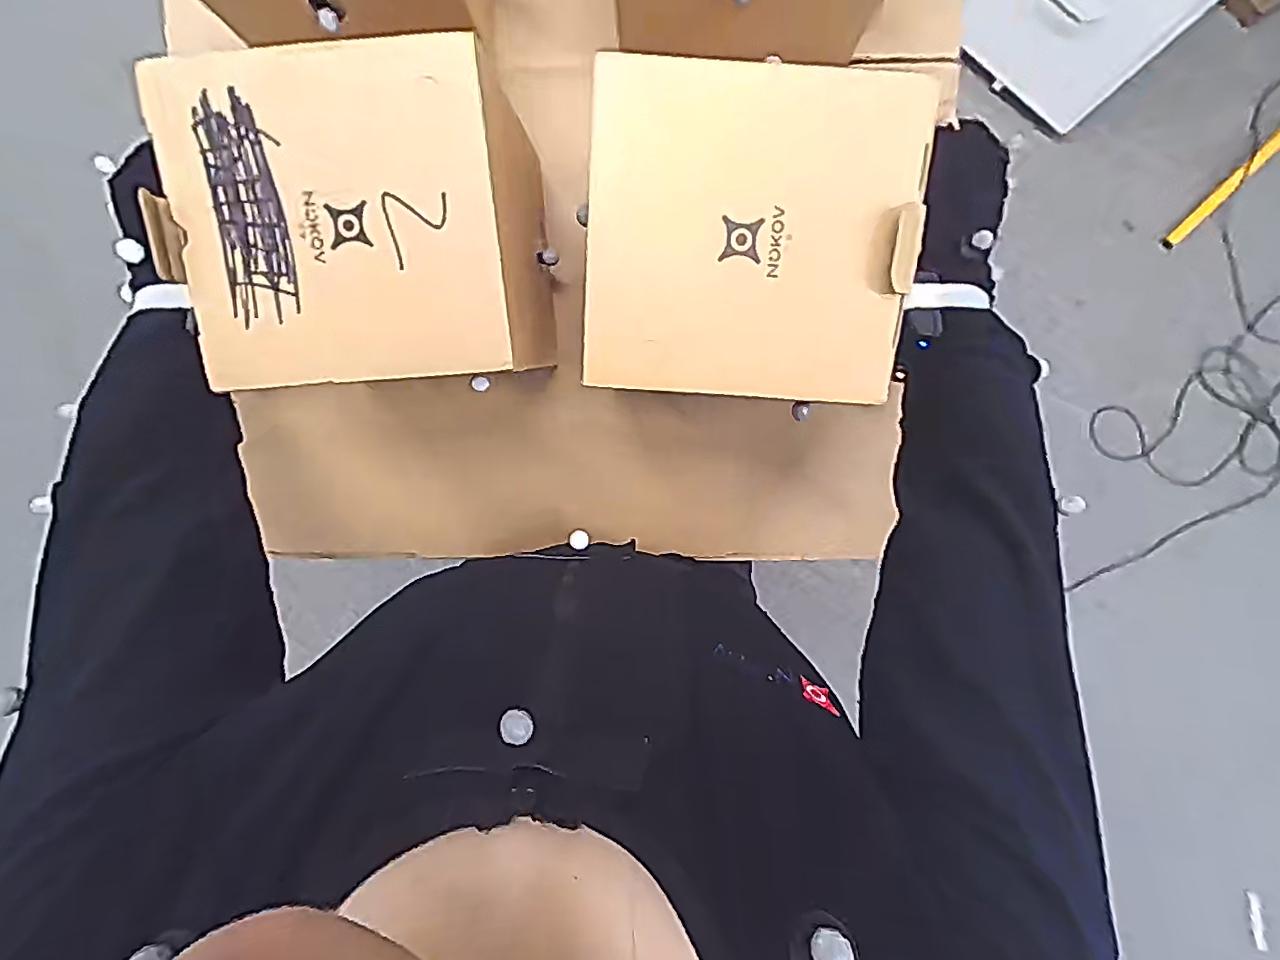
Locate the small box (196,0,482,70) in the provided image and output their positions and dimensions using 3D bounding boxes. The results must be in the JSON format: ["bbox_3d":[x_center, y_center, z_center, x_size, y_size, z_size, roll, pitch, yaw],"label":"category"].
[{"bbox_3d":[-0.203,-0.384,0.327,0.168,0.176,0.179,-2,98,1],"label":"small box"}]
